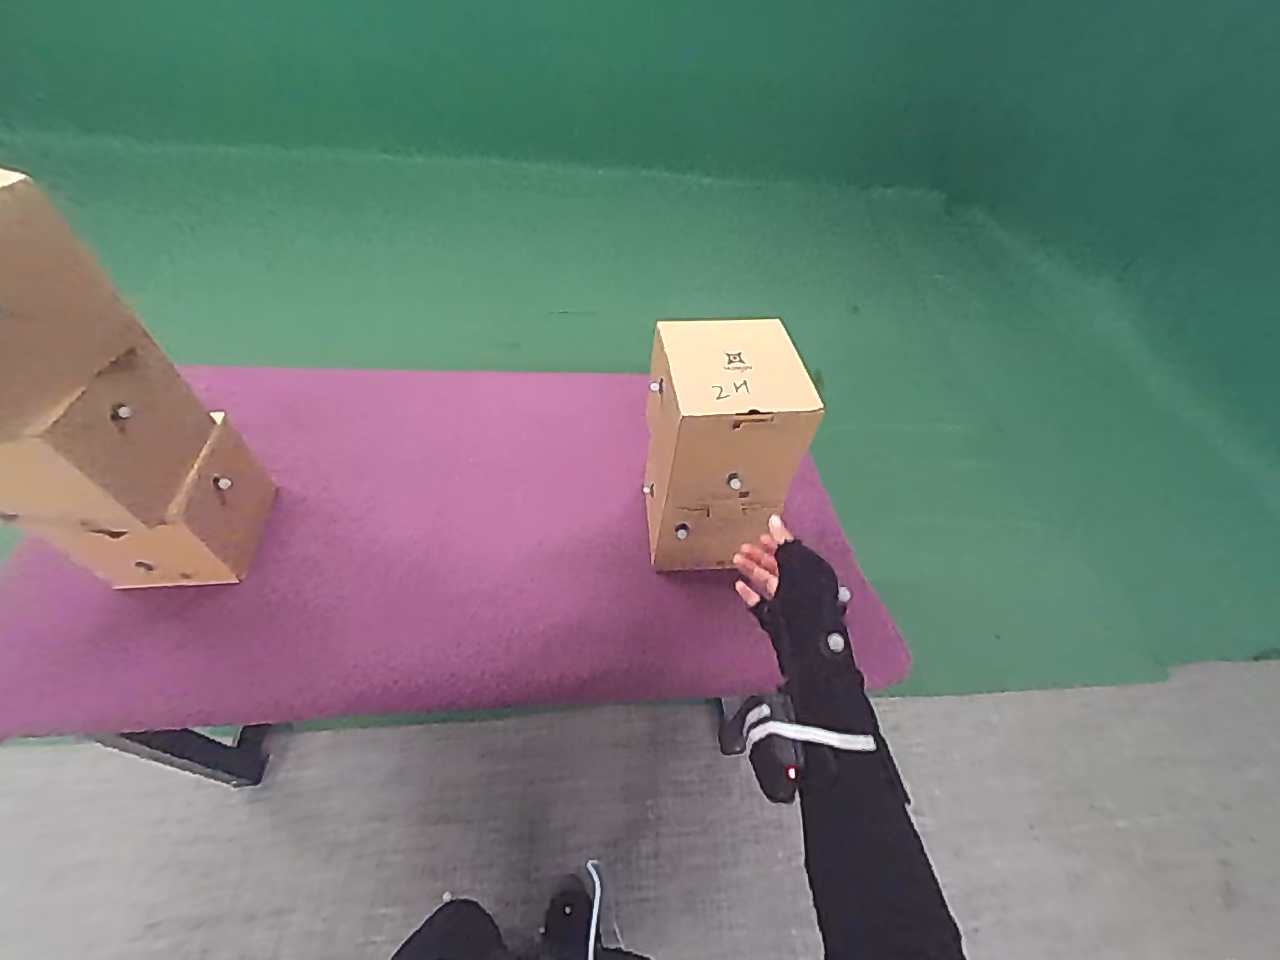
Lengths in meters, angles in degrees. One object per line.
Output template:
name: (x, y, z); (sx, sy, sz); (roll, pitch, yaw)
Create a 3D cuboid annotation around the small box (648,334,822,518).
small box: (0.106, -0.070, 0.704); (0.168, 0.176, 0.179); (-4, 52, -8)

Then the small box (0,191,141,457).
small box: (-0.622, -0.146, 0.481); (0.168, 0.176, 0.179); (16, 54, 5)

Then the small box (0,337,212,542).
small box: (-0.638, -0.044, 0.609); (0.168, 0.176, 0.179); (2, 52, -6)

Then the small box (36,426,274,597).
small box: (-0.645, 0.044, 0.748); (0.168, 0.176, 0.179); (-2, 53, -8)
